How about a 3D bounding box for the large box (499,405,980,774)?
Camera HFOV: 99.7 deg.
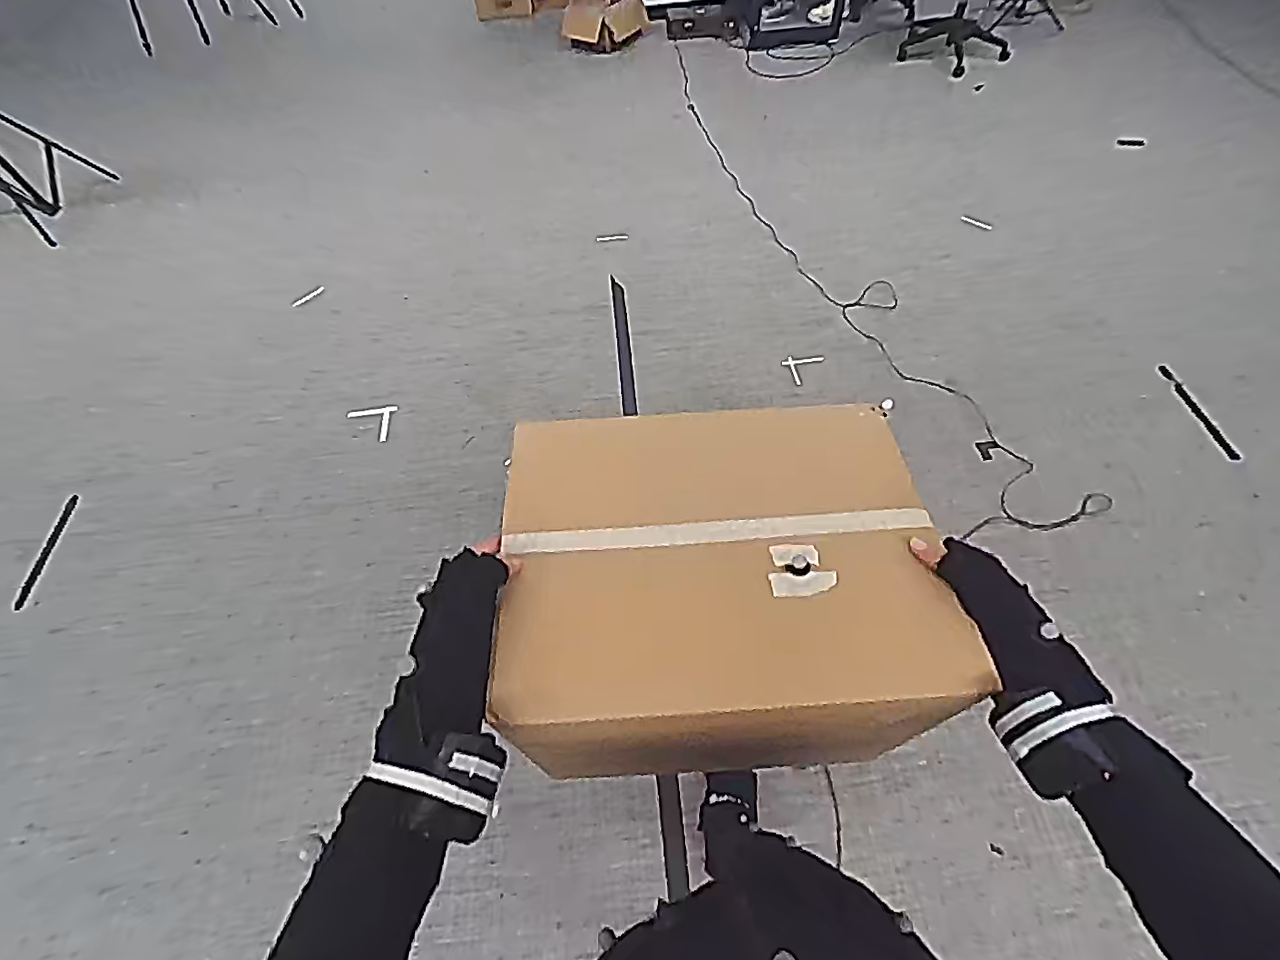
[{"bbox_3d":[0.076,0.139,0.643,0.408,0.320,0.320,-4,54,-1],"label":"large box"}]
